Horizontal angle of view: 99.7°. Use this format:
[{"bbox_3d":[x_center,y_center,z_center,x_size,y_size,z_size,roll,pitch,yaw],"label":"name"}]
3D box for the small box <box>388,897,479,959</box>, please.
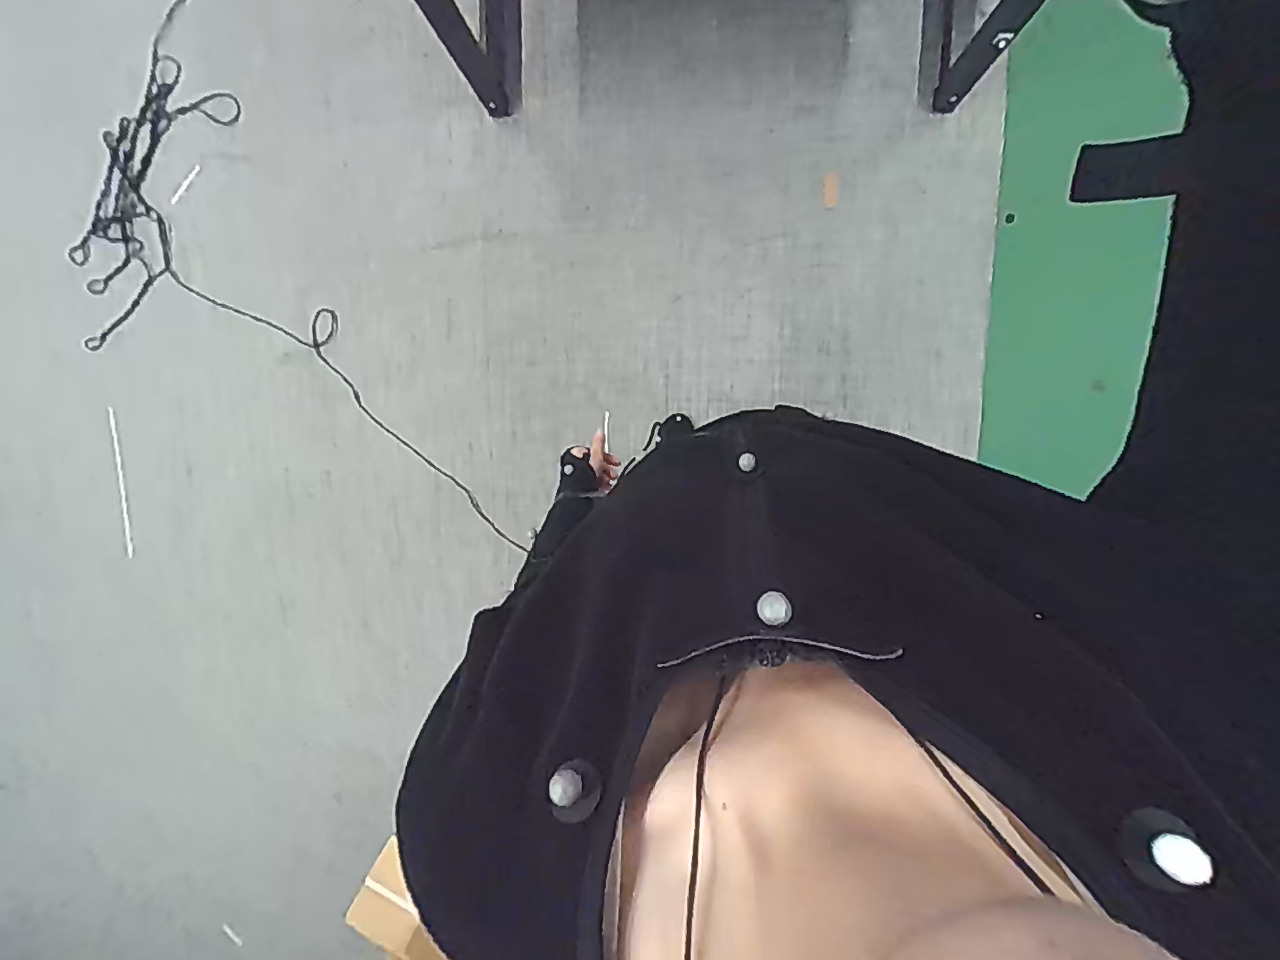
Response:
[{"bbox_3d":[-0.515,1.170,1.294,0.168,0.176,0.179,35,99,1],"label":"small box"}]
